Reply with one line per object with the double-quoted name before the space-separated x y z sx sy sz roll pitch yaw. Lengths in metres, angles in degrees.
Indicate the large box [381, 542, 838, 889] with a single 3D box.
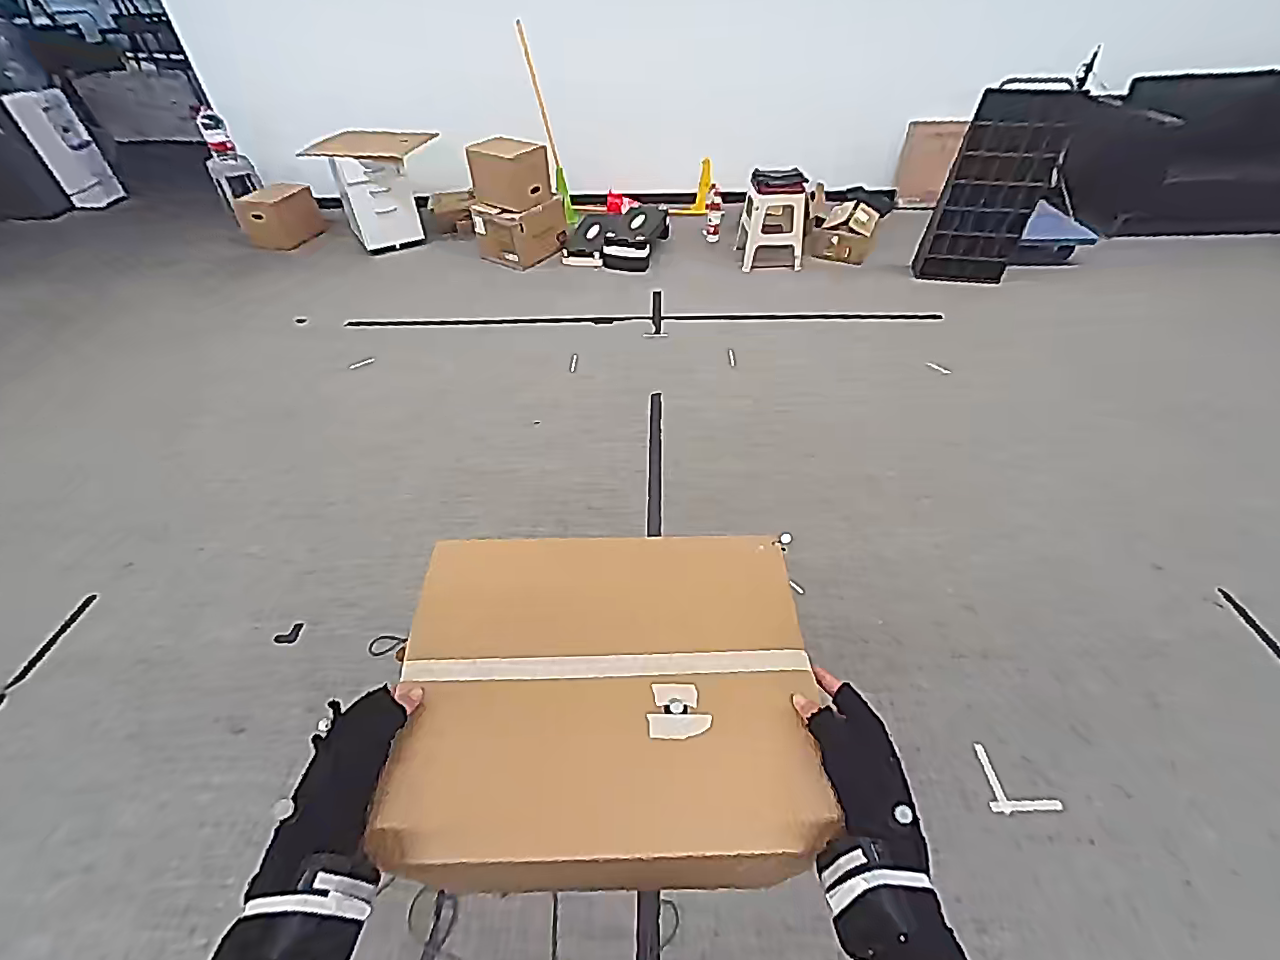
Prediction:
"large box" -0.032 0.294 0.671 0.408 0.320 0.320 -1 50 -2
